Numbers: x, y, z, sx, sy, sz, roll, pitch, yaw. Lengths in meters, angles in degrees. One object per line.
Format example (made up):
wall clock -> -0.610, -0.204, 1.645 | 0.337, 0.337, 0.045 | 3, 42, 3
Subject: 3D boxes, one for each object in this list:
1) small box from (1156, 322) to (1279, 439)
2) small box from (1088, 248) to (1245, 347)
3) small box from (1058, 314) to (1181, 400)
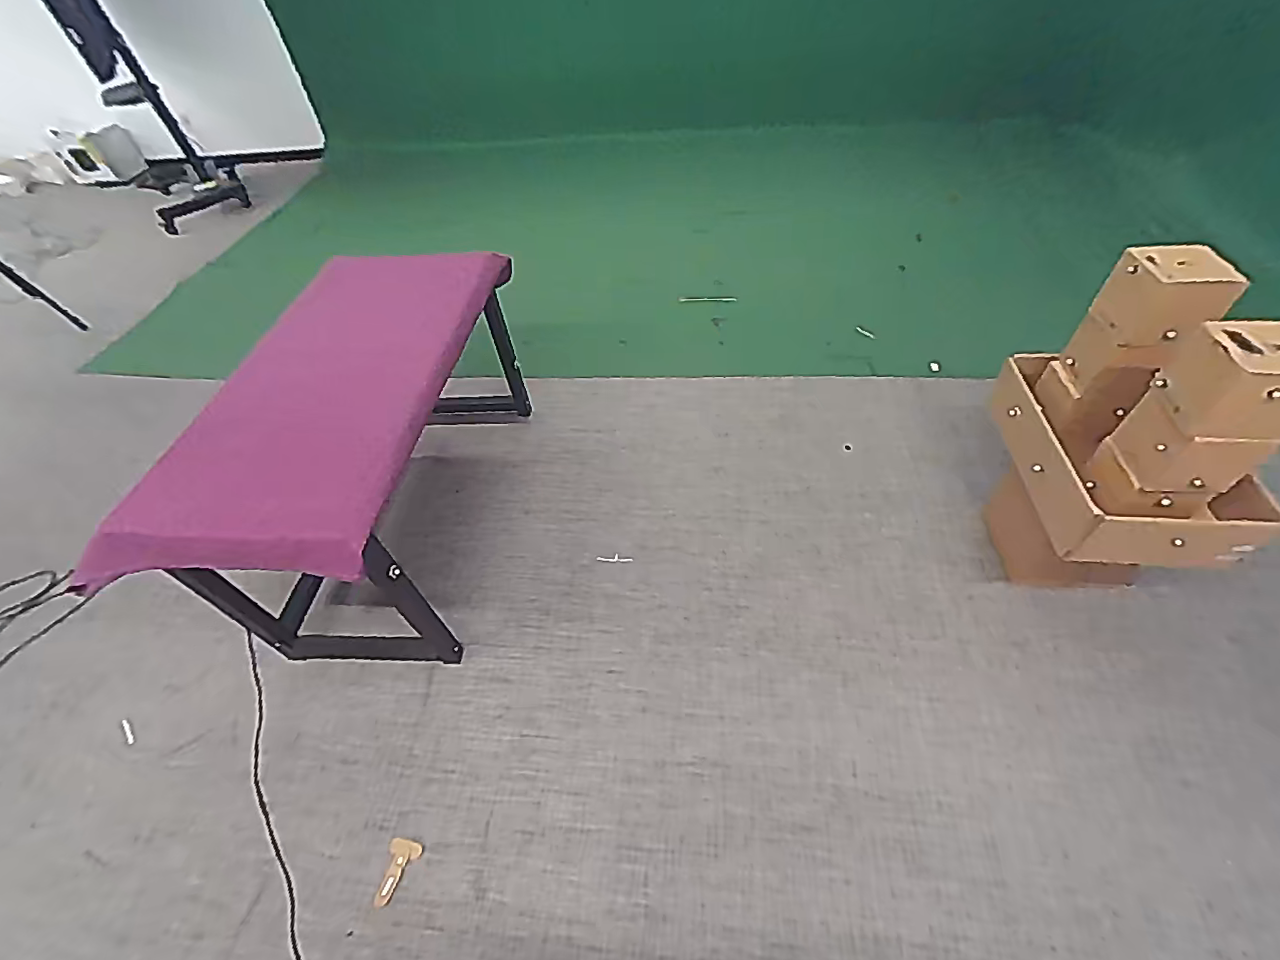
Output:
small box -> 1.207, -0.199, 1.091 | 0.179, 0.176, 0.168 | 4, 51, 8
small box -> 1.240, -0.433, 1.291 | 0.179, 0.176, 0.168 | 2, 49, 5
small box -> 1.253, -0.326, 1.414 | 0.179, 0.176, 0.168 | 4, 49, 9
